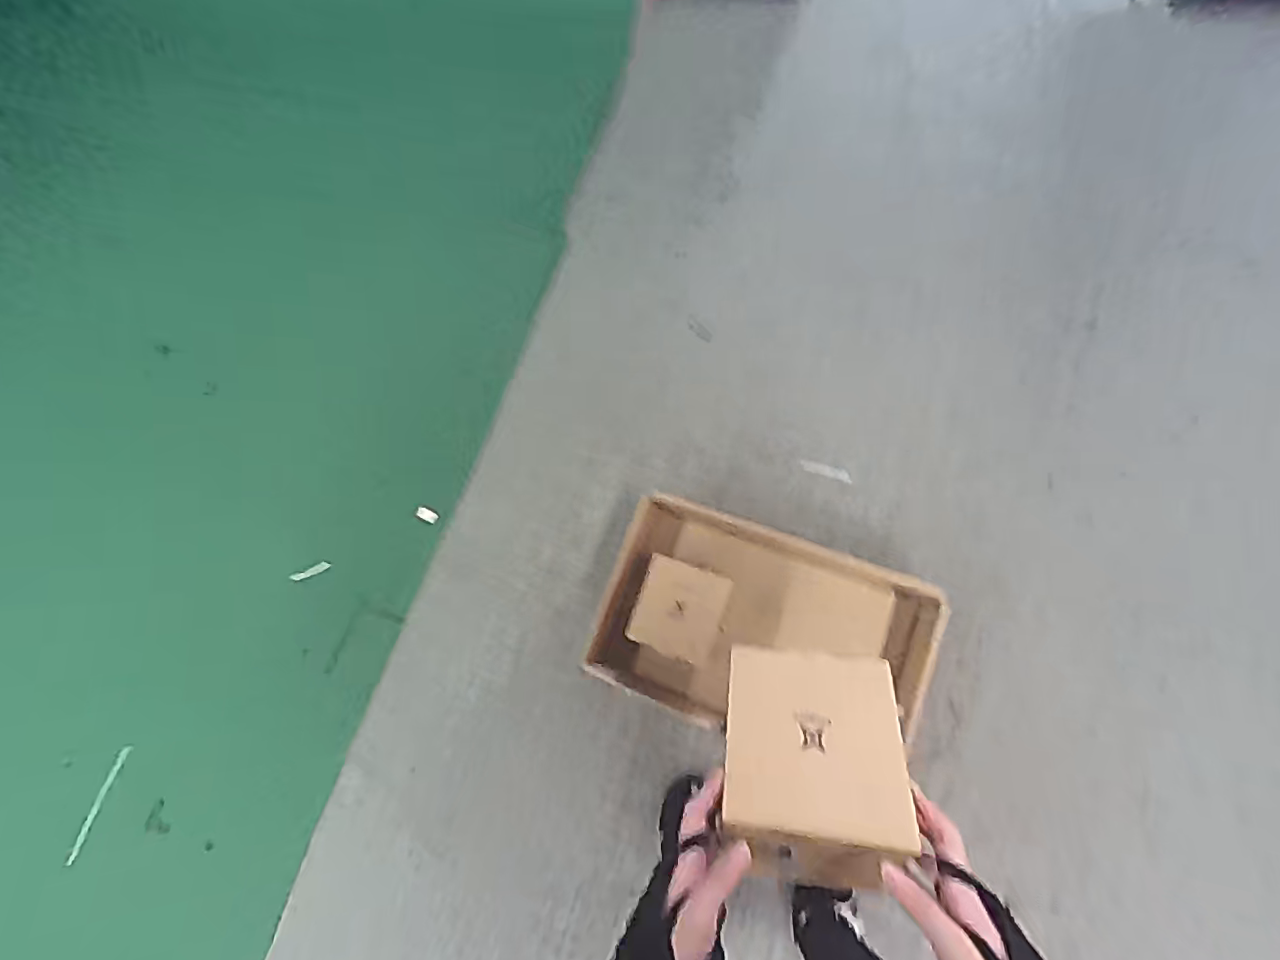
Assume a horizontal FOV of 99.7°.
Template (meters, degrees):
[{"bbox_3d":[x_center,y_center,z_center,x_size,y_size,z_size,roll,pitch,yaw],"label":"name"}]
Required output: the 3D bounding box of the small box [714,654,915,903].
[{"bbox_3d":[0.169,0.309,0.564,0.168,0.176,0.179,1,41,11],"label":"small box"}]

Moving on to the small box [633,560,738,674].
[{"bbox_3d":[0.105,0.286,1.137,0.168,0.176,0.179,19,80,16],"label":"small box"}]
